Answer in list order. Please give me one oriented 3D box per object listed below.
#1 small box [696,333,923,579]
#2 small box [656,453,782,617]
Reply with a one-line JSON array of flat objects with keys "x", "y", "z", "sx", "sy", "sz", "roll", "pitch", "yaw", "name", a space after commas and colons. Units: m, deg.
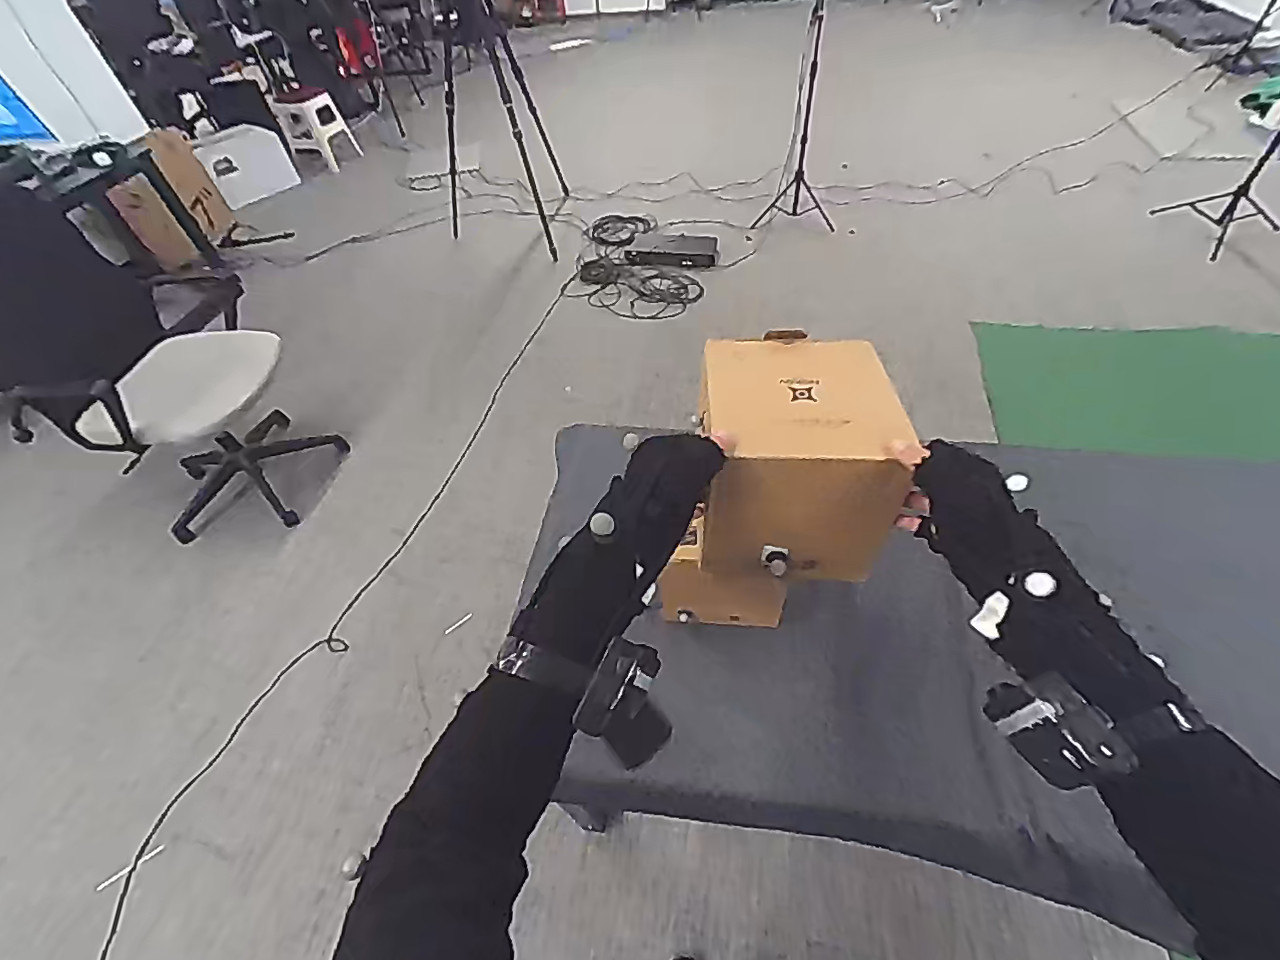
[{"x": 0.144, "y": -0.025, "z": 0.536, "sx": 0.168, "sy": 0.176, "sz": 0.179, "roll": 2, "pitch": 46, "yaw": 3, "name": "small box"}, {"x": 0.116, "y": 0.081, "z": 0.779, "sx": 0.168, "sy": 0.176, "sz": 0.179, "roll": 2, "pitch": 49, "yaw": 7, "name": "small box"}]
